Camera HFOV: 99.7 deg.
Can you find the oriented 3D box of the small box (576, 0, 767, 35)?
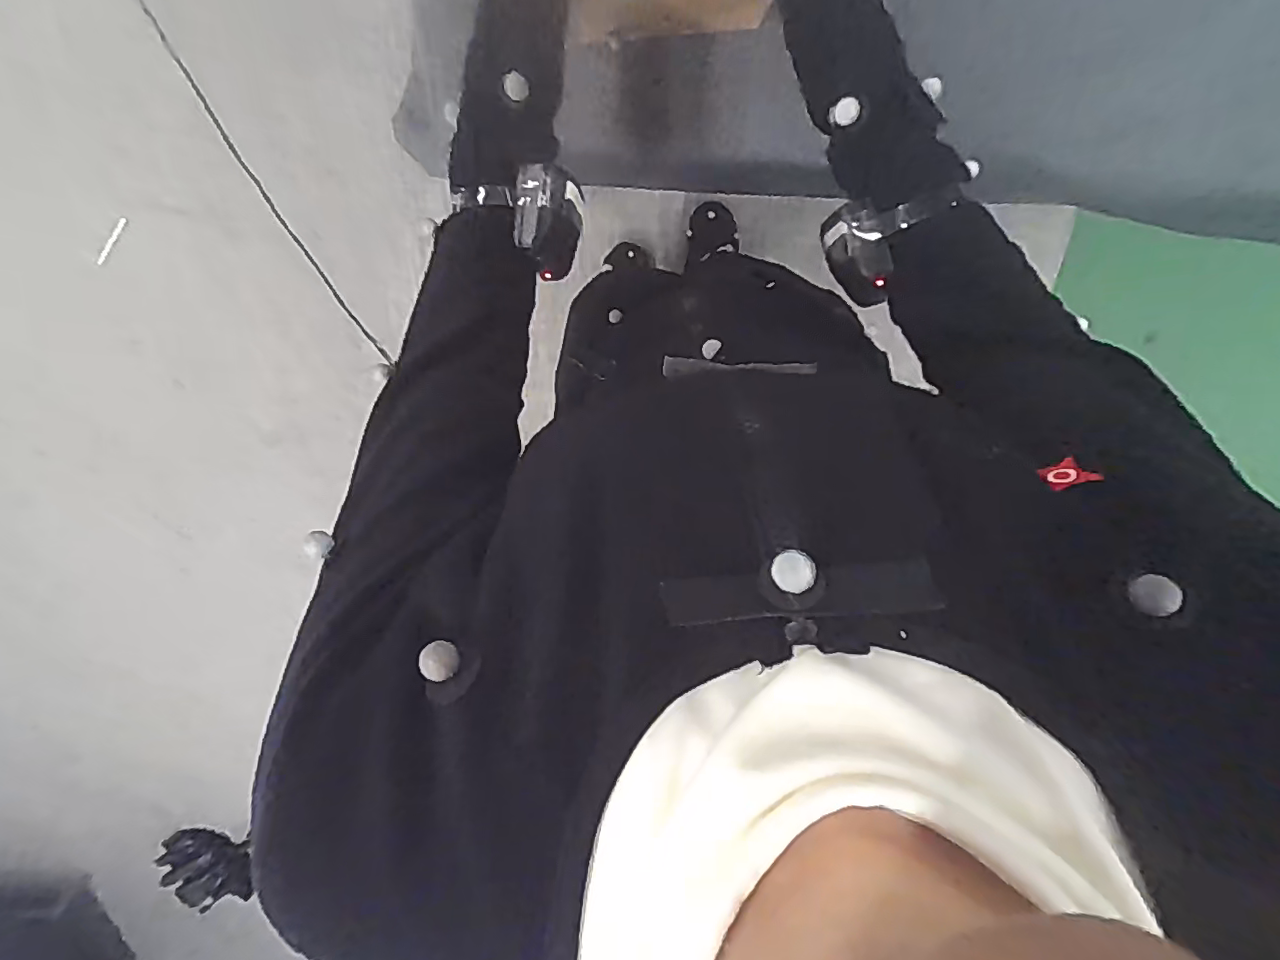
[{"bbox_3d":[0.024,-0.462,0.401,0.168,0.176,0.179,-3,114,2],"label":"small box"}]
